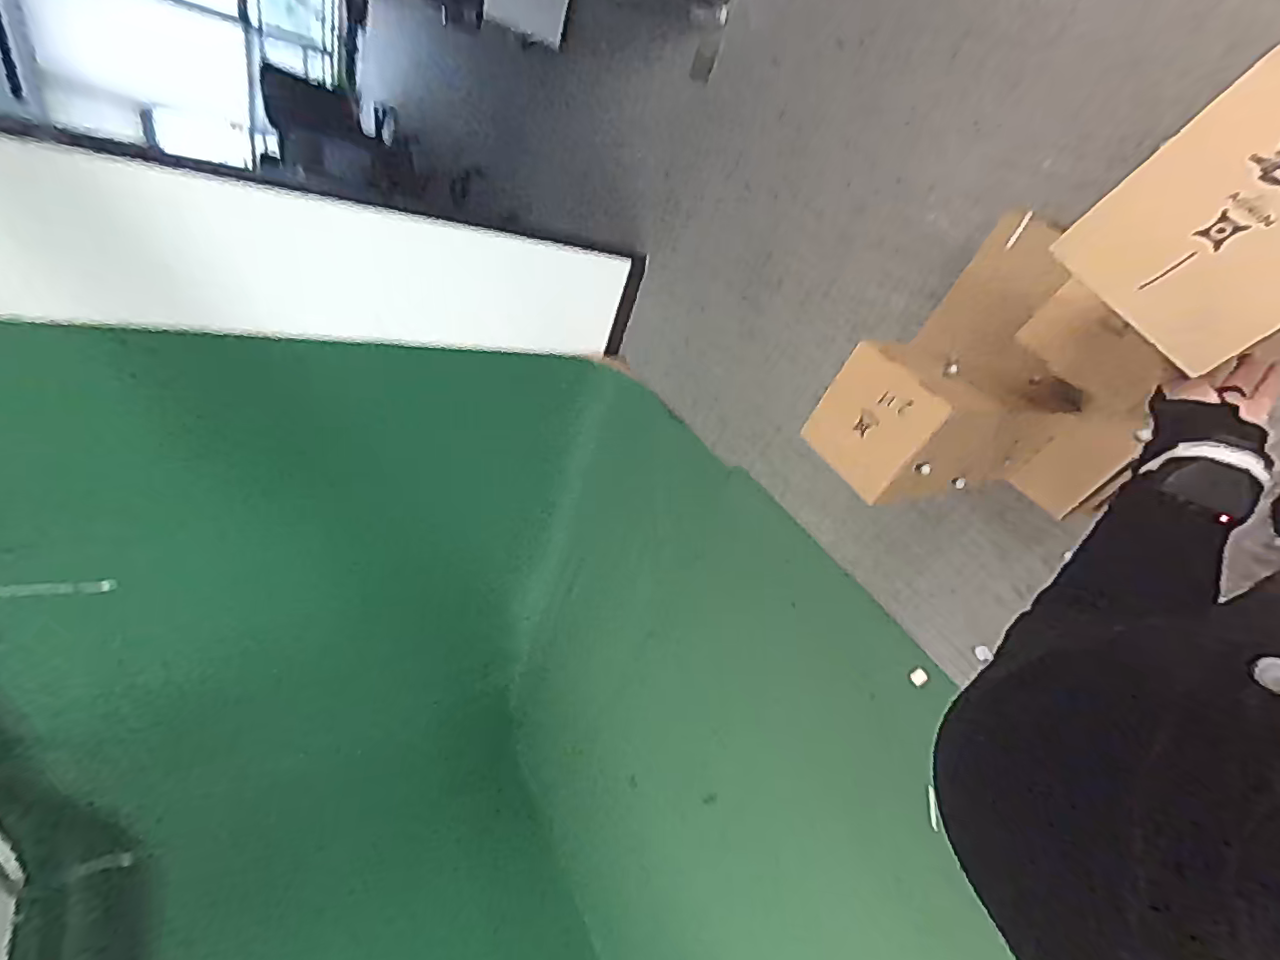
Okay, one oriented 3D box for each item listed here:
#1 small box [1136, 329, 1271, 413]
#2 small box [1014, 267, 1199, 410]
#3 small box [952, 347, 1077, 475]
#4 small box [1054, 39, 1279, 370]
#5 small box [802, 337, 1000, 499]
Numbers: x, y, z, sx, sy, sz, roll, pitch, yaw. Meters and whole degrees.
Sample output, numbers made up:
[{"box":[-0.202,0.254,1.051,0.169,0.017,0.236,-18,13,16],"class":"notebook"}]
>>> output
[{"box":[0.781,-0.218,0.821,0.179,0.176,0.168,59,135,33],"class":"small box"},{"box":[0.658,-0.210,0.715,0.168,0.176,0.179,58,136,32],"class":"small box"},{"box":[0.653,-0.125,1.012,0.179,0.176,0.168,59,138,34],"class":"small box"},{"box":[0.511,-0.216,0.459,0.168,0.176,0.179,59,137,20],"class":"small box"},{"box":[0.390,-0.093,0.815,0.168,0.176,0.179,56,137,35],"class":"small box"}]
